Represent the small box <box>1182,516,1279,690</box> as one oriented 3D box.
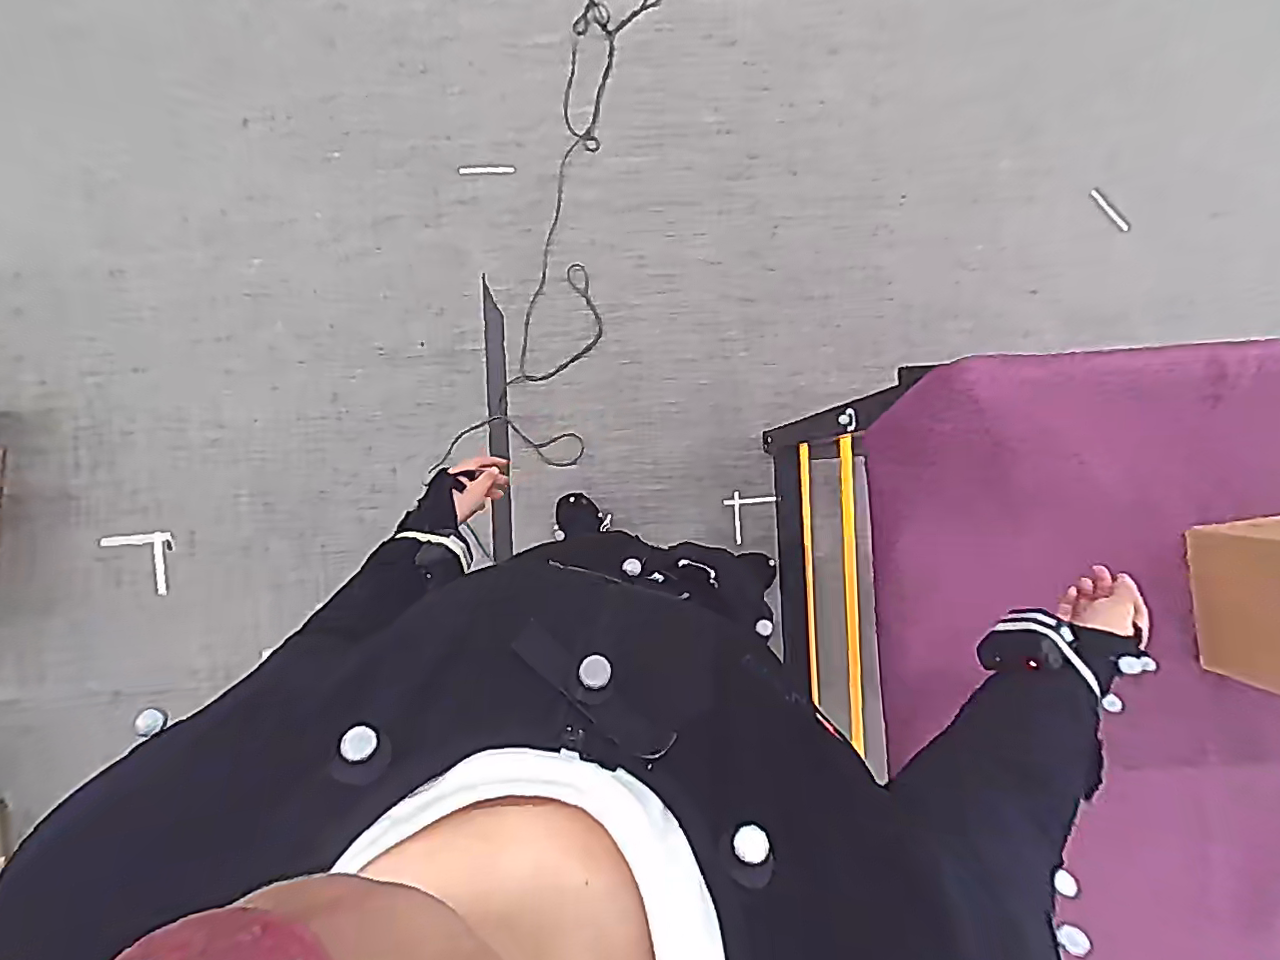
[{"bbox_3d":[0.763,0.139,0.596,0.168,0.176,0.179,-6,91,-2],"label":"small box"}]
